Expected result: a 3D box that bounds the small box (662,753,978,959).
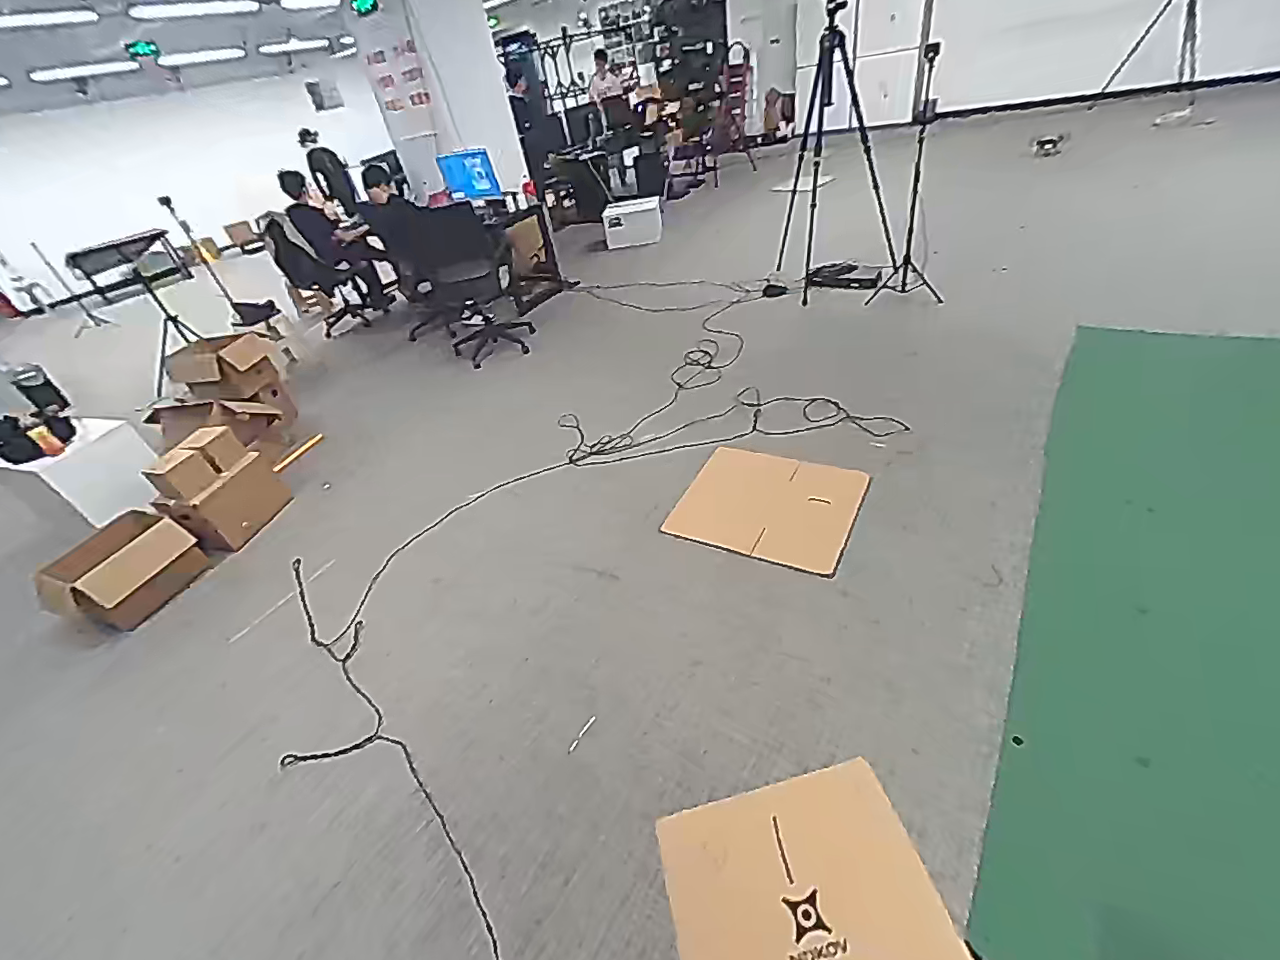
[{"bbox_3d":[0.126,0.335,0.380,0.168,0.176,0.179,-16,36,-1],"label":"small box"}]
